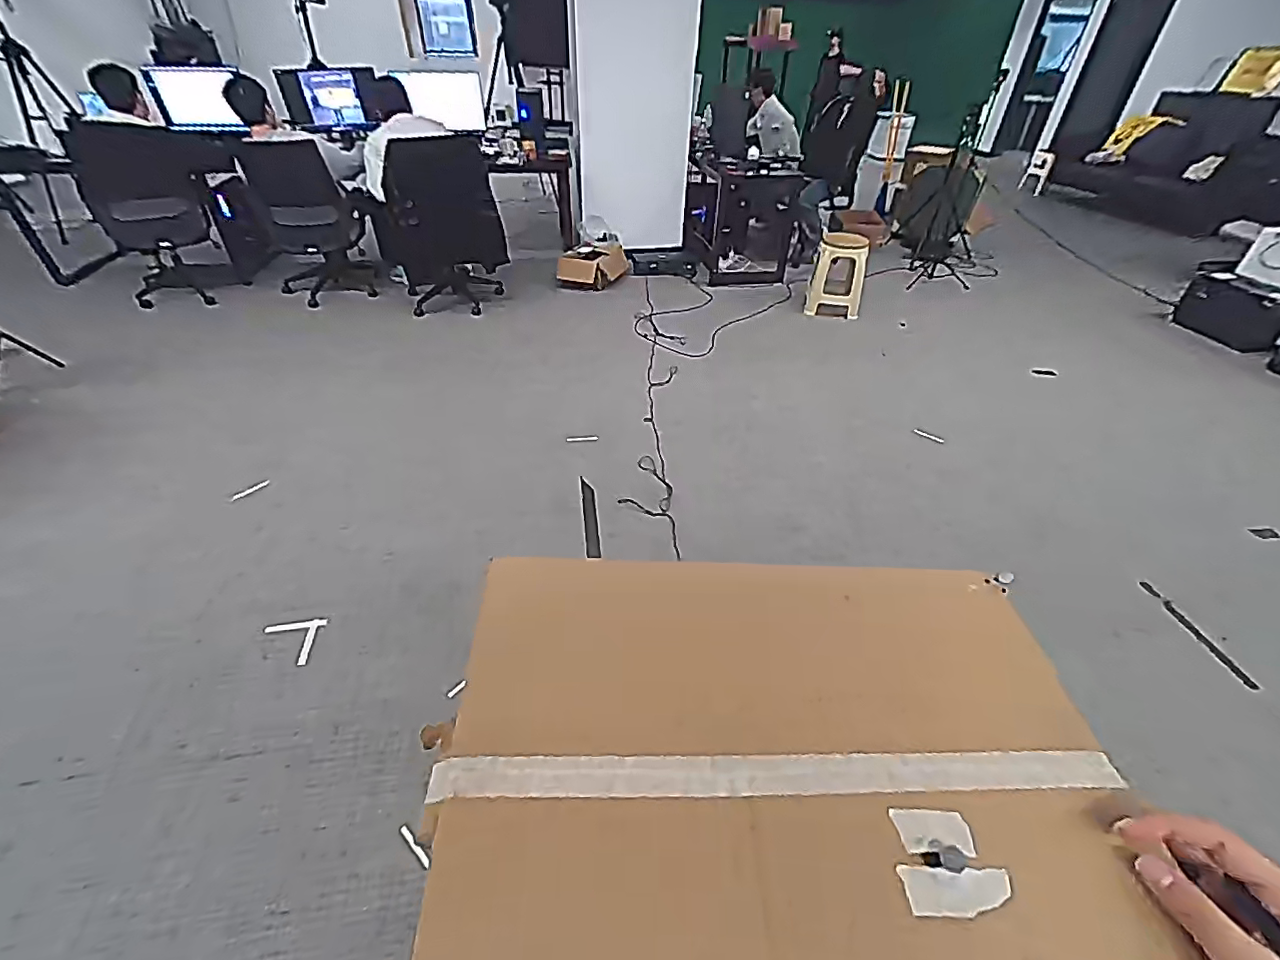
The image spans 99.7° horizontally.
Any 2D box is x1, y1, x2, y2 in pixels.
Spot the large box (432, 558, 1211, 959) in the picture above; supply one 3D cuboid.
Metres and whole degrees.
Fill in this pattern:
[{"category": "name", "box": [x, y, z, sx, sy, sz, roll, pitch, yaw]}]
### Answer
[{"category": "large box", "box": [0.077, 0.282, 0.432, 0.408, 0.320, 0.320, 3, 44, -6]}]
